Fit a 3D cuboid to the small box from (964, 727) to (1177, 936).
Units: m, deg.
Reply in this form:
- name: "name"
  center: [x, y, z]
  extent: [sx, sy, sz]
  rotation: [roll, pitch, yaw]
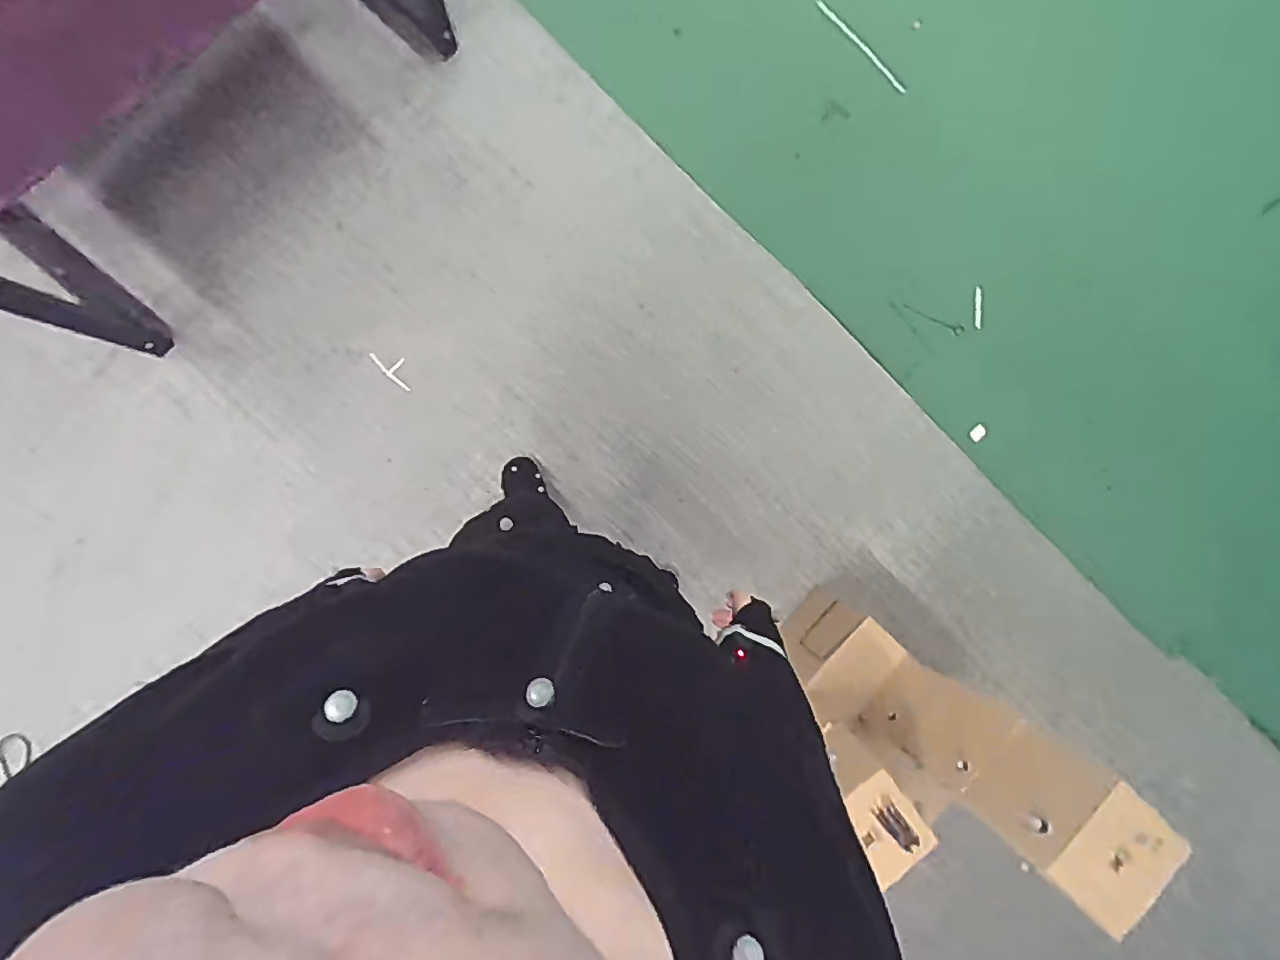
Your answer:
- name: "small box"
  center: [0.657, 0.538, 0.853]
  extent: [0.168, 0.176, 0.179]
  rotation: [45, 86, -6]

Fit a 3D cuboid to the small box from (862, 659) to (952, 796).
- name: "small box"
  center: [0.617, 0.528, 1.178]
  extent: [0.168, 0.176, 0.179]
  rotation: [42, 85, -6]

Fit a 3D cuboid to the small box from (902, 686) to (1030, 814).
- name: "small box"
  center: [0.641, 0.526, 1.017]
  extent: [0.168, 0.176, 0.179]
  rotation: [44, 87, -6]
